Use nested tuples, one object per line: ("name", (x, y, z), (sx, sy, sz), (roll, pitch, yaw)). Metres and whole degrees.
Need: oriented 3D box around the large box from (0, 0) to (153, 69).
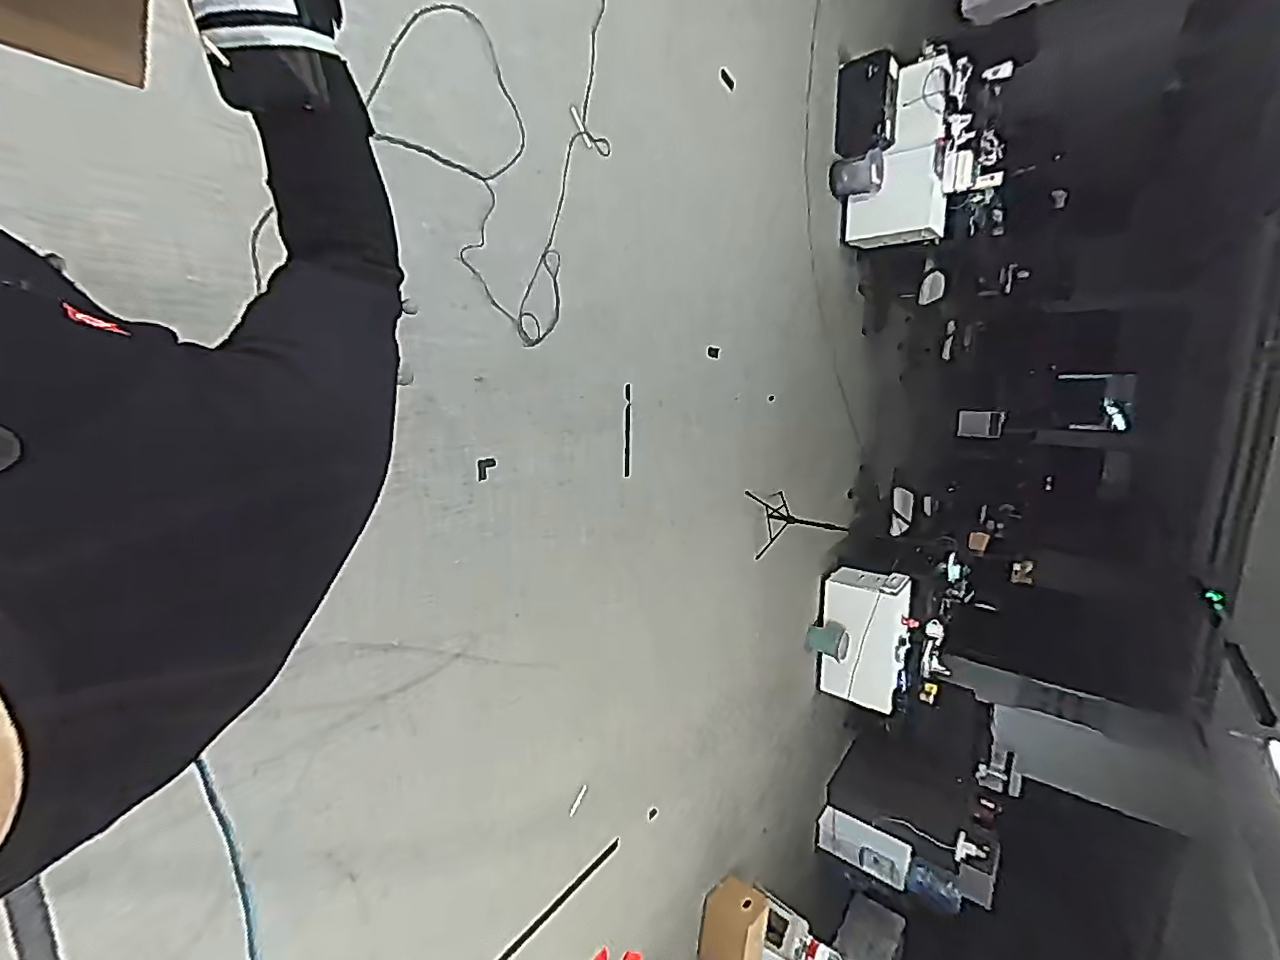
("large box", (-0.483, -0.466, 0.225), (0.408, 0.320, 0.320), (-4, 109, -43))
